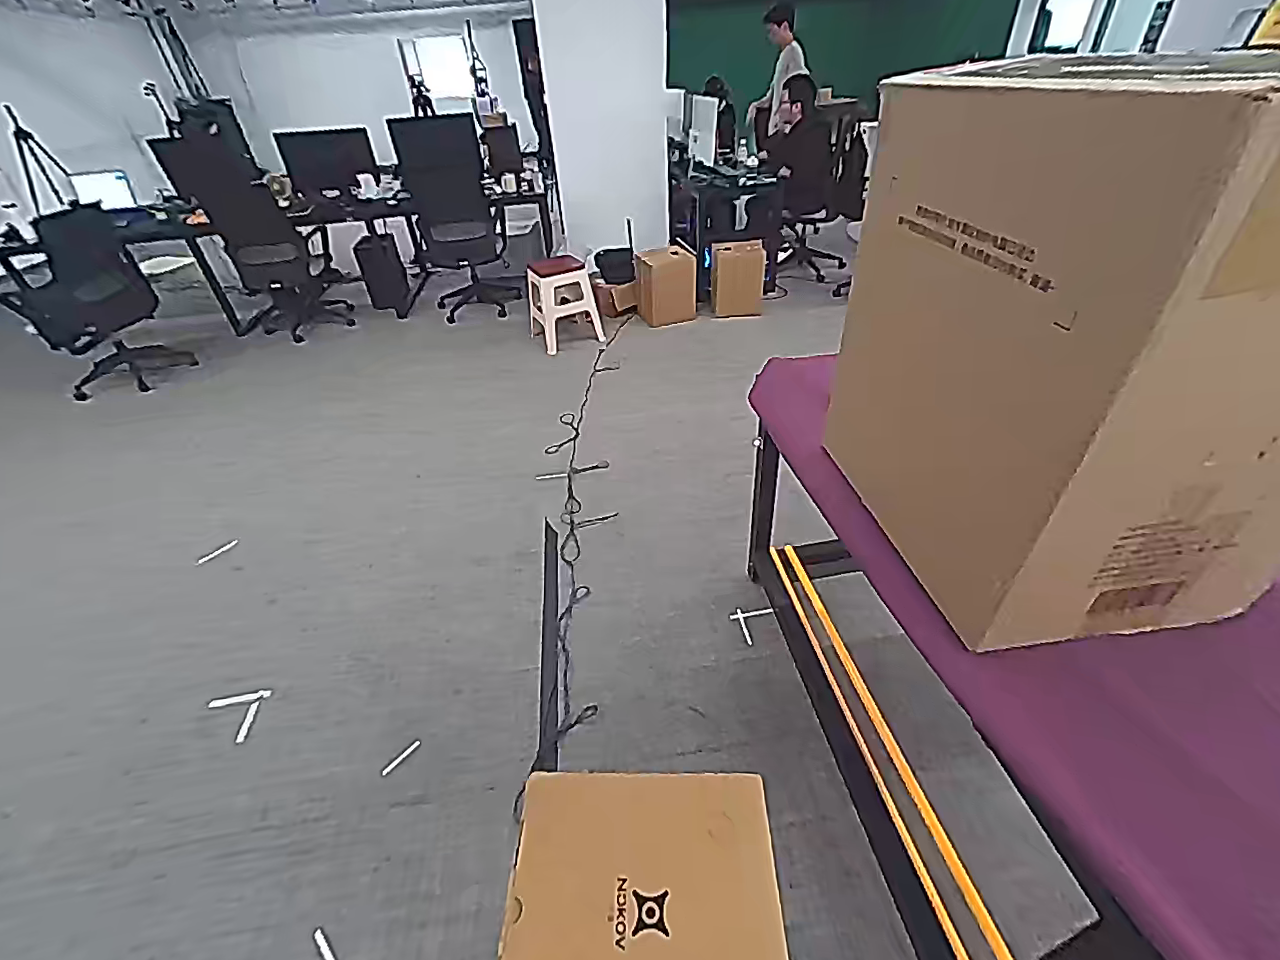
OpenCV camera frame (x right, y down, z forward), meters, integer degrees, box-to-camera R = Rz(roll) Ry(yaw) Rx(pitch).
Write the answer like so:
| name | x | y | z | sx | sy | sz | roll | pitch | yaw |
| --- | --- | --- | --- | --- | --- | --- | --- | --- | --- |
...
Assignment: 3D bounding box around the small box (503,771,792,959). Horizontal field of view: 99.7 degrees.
| name | x | y | z | sx | sy | sz | roll | pitch | yaw |
| --- | --- | --- | --- | --- | --- | --- | --- | --- | --- |
| small box | 0.005 | 0.331 | 0.392 | 0.179 | 0.176 | 0.168 | -1 | 40 | 1 |
